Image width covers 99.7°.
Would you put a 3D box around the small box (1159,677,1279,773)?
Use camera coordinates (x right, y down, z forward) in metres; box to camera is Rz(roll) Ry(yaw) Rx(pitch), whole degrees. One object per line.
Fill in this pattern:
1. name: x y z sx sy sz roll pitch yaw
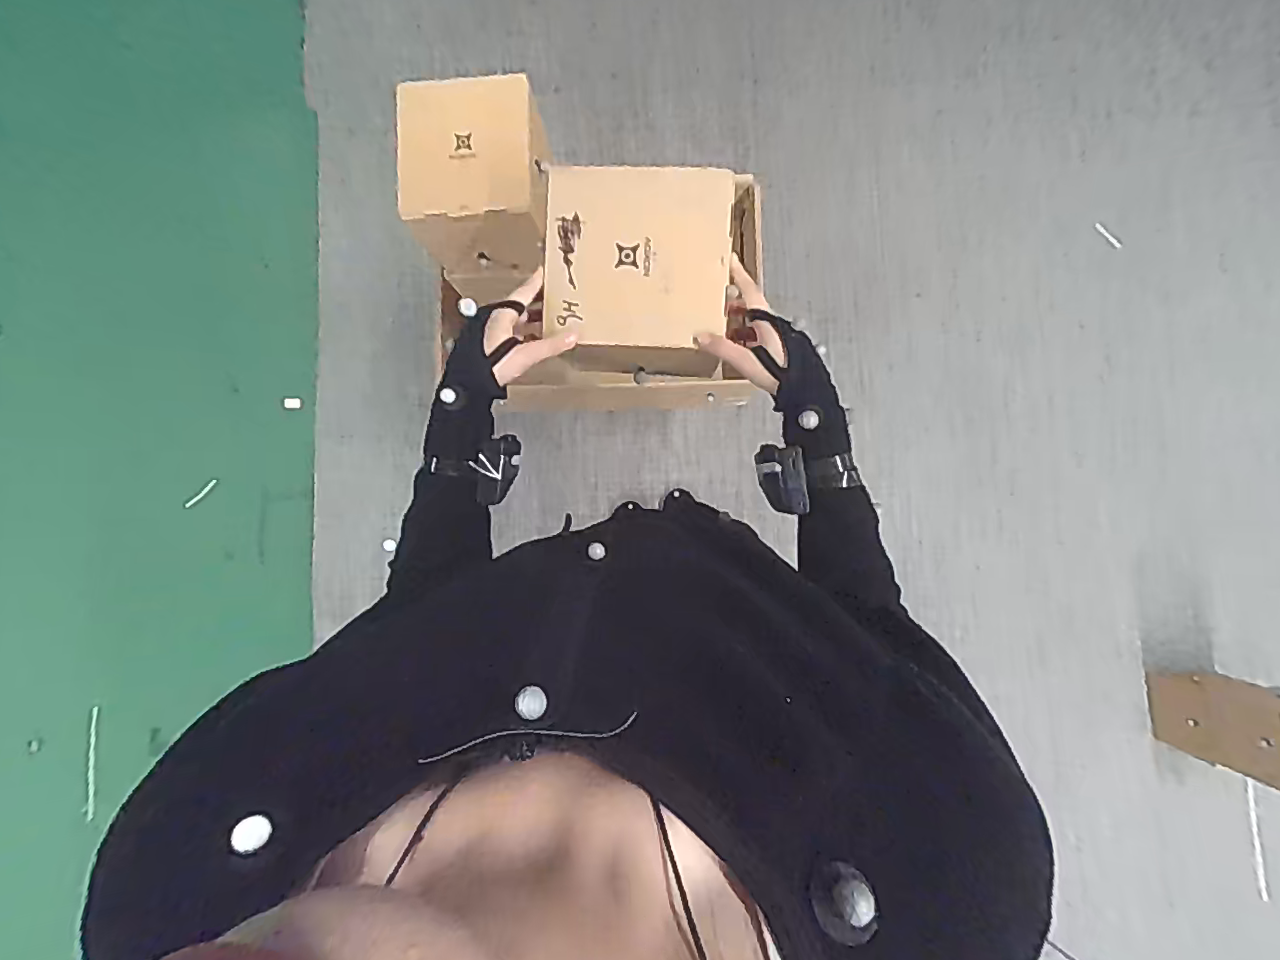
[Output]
1. small box: 1.435 0.592 1.327 0.168 0.176 0.179 -3 86 3

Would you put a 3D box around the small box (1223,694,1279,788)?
1. small box: 1.425 0.569 1.165 0.168 0.176 0.179 -3 85 4

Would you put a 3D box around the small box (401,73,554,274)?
1. small box: -0.208 -0.406 0.740 0.168 0.176 0.179 -2 87 3

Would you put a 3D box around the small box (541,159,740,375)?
1. small box: 0.003 -0.210 0.577 0.179 0.176 0.168 4 90 3
